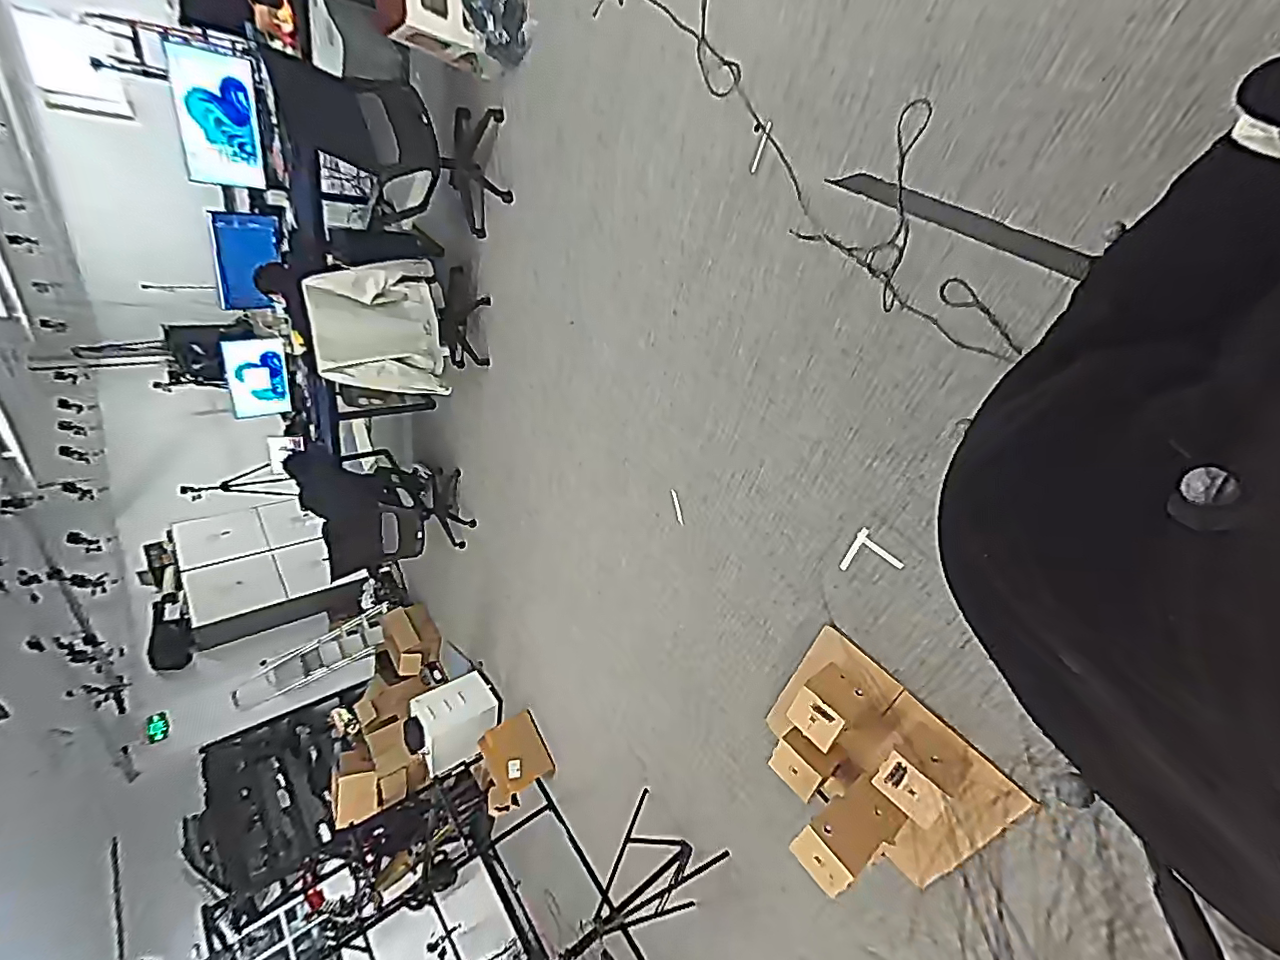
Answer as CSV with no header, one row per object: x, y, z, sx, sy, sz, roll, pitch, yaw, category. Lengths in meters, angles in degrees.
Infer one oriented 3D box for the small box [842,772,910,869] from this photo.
0.746,1.107,1.770,0.179,0.176,0.168,38,129,35,small box

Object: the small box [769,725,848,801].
0.596,0.977,1.913,0.179,0.176,0.168,38,130,36,small box

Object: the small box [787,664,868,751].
0.627,0.747,1.793,0.168,0.176,0.179,39,130,36,small box

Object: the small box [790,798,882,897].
0.607,1.129,1.680,0.179,0.176,0.168,42,132,34,small box
